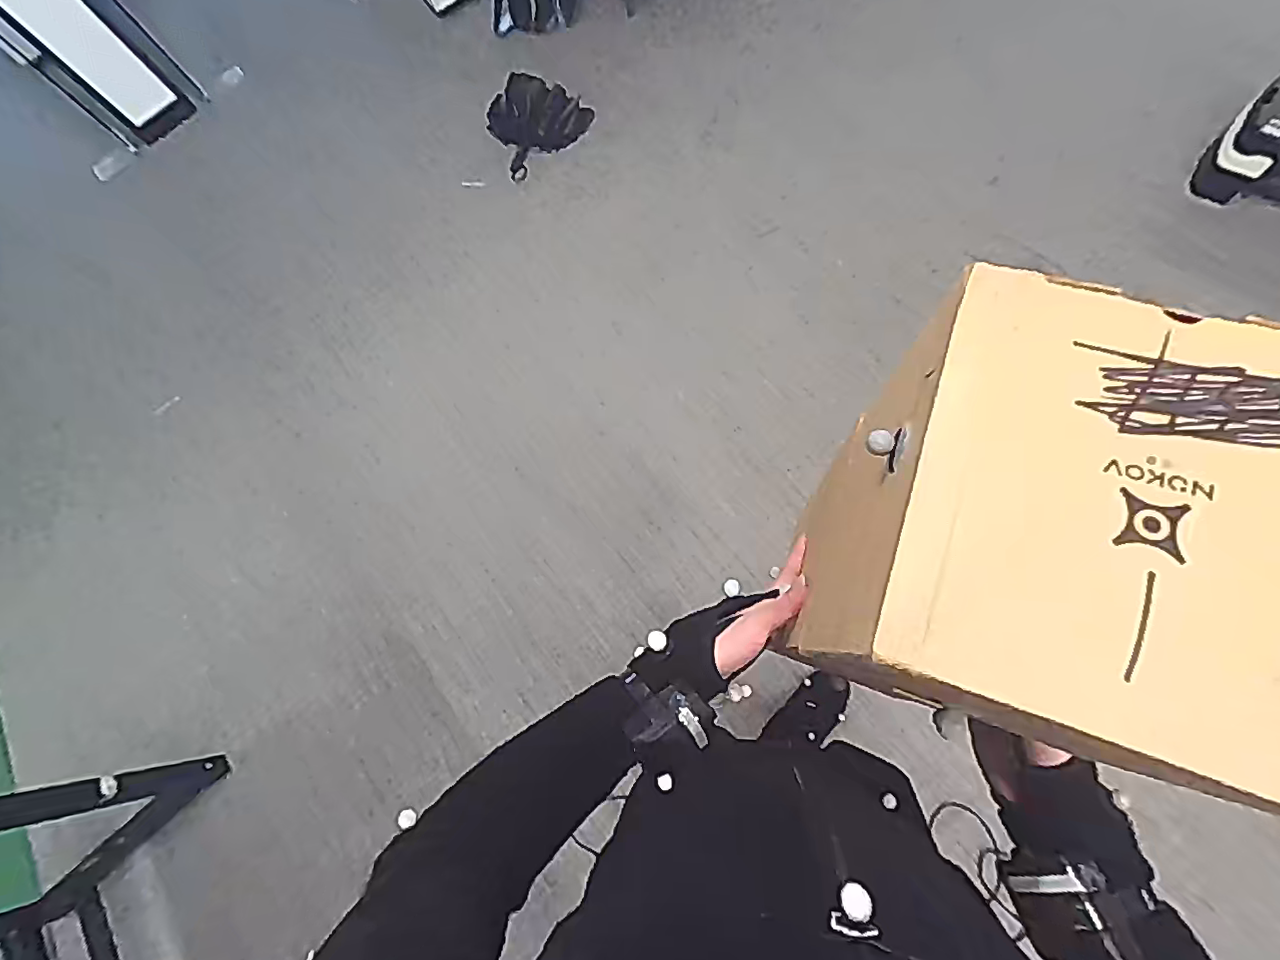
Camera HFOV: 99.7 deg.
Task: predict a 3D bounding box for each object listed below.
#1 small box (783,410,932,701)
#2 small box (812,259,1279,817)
[{"bbox_3d":[0.217,0.073,0.427,0.168,0.176,0.179,16,75,12],"label":"small box"},{"bbox_3d":[0.197,0.031,0.269,0.168,0.176,0.179,18,77,13],"label":"small box"}]
